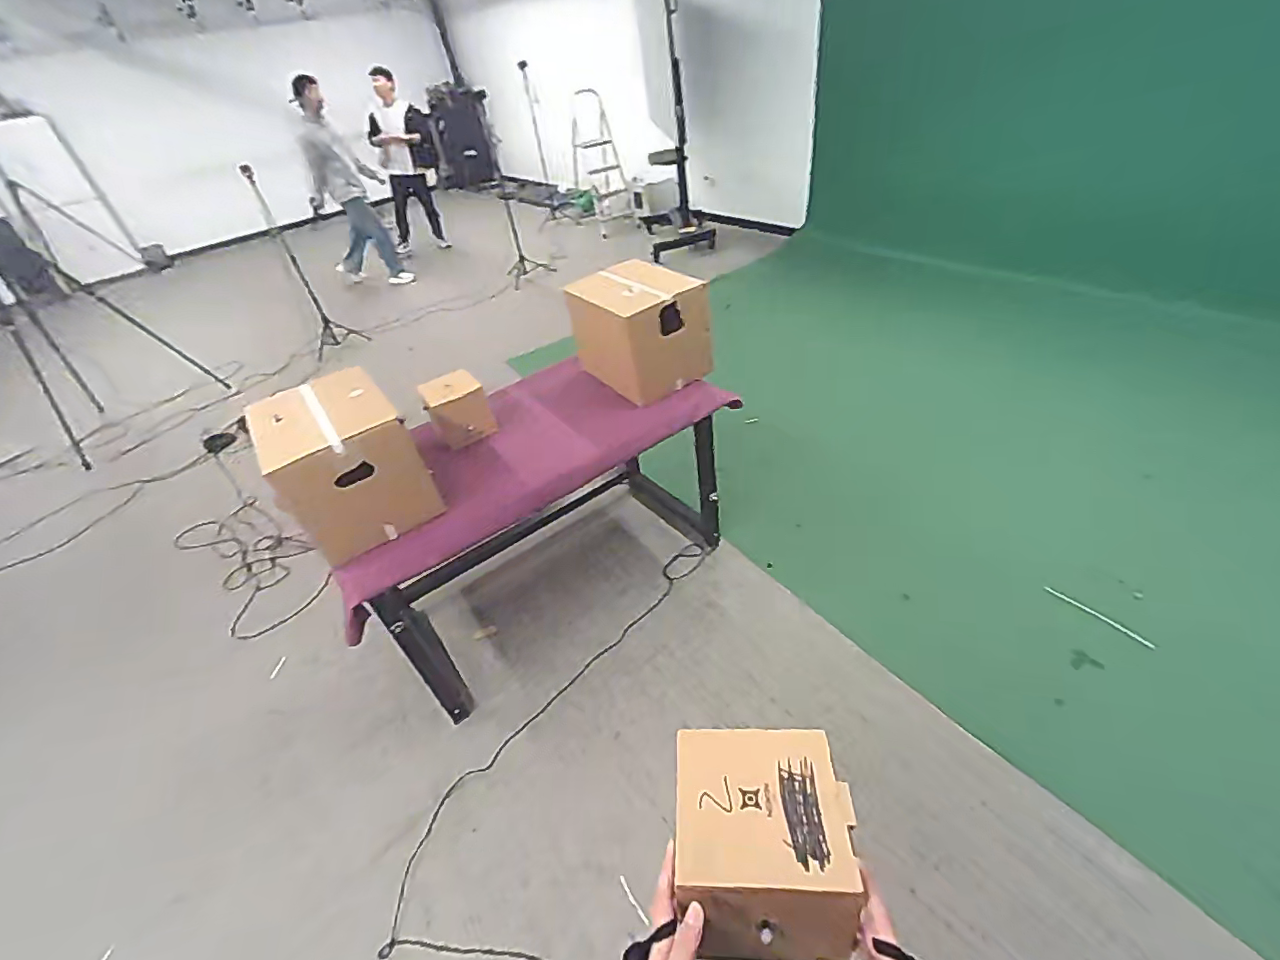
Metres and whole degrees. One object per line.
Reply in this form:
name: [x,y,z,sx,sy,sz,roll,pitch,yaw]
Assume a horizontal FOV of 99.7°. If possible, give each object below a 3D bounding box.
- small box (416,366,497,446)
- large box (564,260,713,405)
small box: [-0.582,-0.234,1.722,0.168,0.176,0.179,-29,44,-22]
large box: [-0.002,-0.506,1.823,0.320,0.320,0.408,-30,44,-21]
